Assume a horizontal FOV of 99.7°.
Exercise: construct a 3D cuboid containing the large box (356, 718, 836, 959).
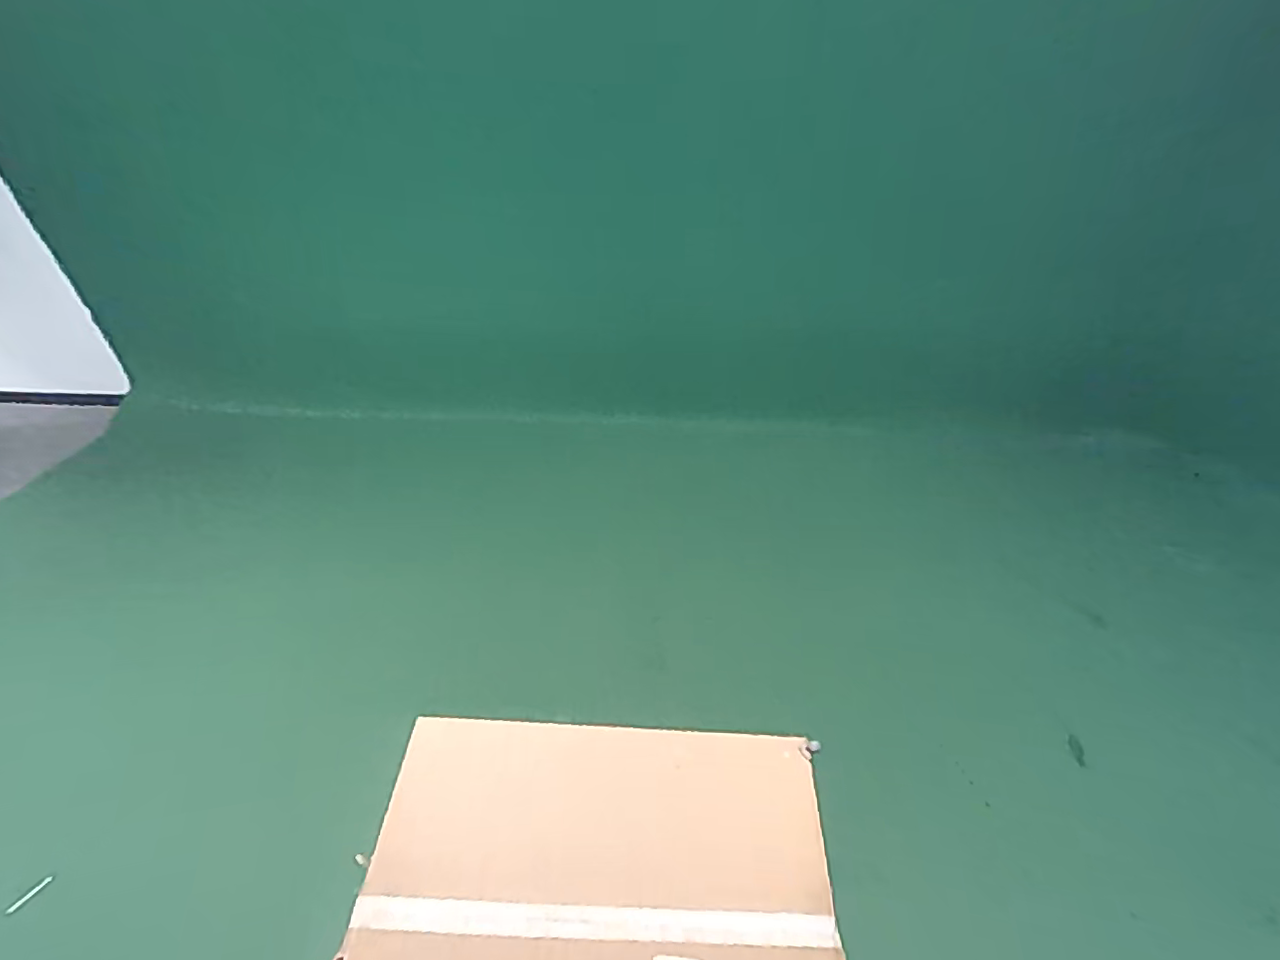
[{"bbox_3d":[-0.043,0.472,0.576,0.408,0.320,0.320,4,48,-2],"label":"large box"}]
